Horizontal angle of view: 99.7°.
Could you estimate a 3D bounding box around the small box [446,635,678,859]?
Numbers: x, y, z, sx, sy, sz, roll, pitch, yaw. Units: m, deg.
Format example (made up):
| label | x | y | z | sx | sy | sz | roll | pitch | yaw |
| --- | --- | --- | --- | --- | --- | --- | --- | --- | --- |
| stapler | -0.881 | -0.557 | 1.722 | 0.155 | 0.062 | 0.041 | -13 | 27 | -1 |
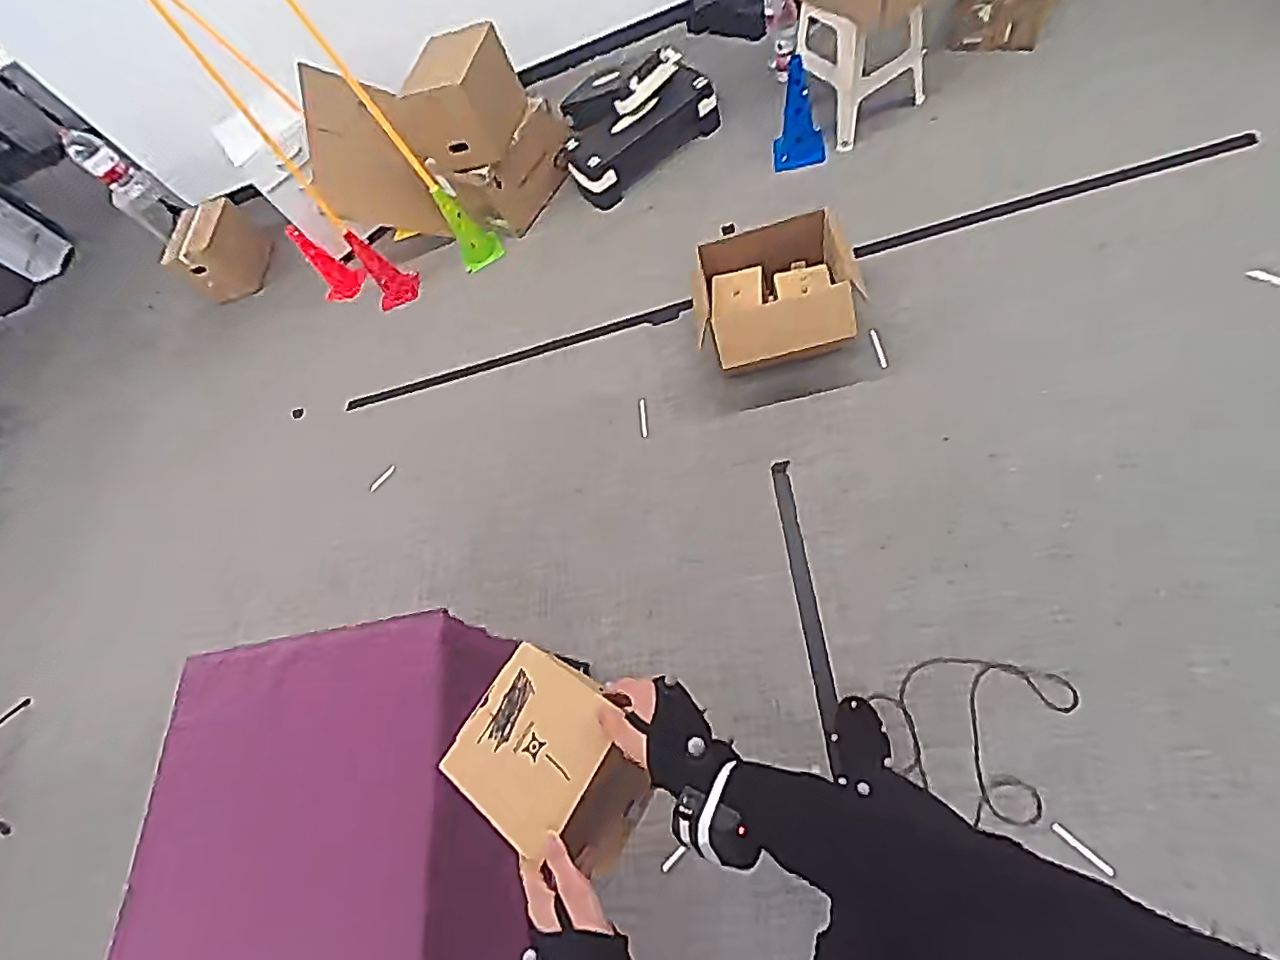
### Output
| label | x | y | z | sx | sy | sz | roll | pitch | yaw |
| --- | --- | --- | --- | --- | --- | --- | --- | --- | --- |
| small box | -0.085 | 0.319 | 0.647 | 0.179 | 0.176 | 0.168 | 21 | 69 | 36 |
